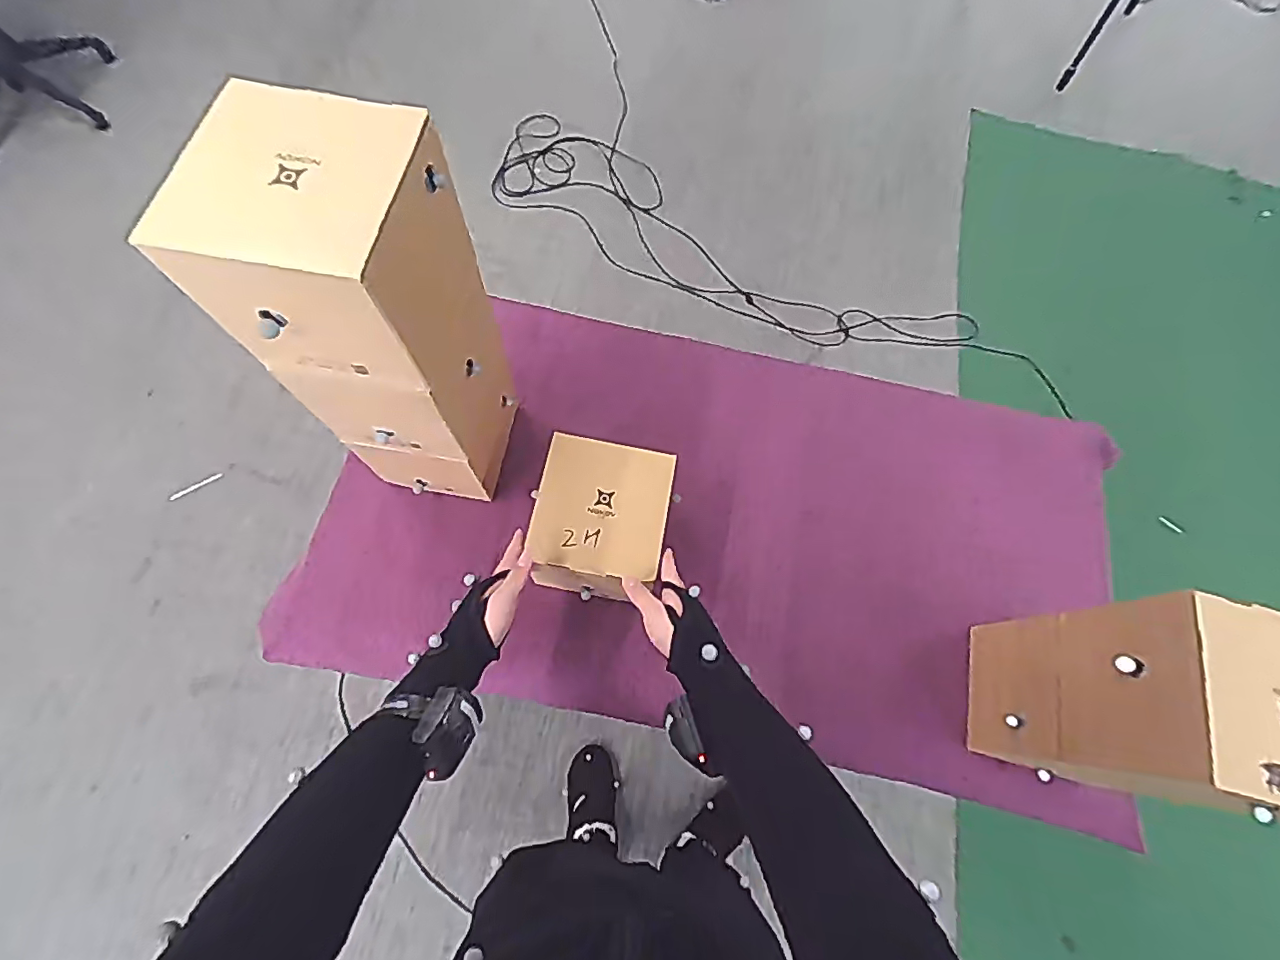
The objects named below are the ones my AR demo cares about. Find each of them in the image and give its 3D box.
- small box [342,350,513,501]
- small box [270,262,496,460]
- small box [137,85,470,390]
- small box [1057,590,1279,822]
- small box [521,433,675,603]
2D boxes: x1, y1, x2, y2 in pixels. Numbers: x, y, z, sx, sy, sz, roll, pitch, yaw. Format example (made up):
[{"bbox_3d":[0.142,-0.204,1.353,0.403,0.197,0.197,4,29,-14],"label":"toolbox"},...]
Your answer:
[{"bbox_3d":[-0.291,-0.087,0.788,0.168,0.176,0.179,10,70,0],"label":"small box"},{"bbox_3d":[-0.278,-0.145,0.636,0.168,0.176,0.179,10,70,0],"label":"small box"},{"bbox_3d":[-0.267,-0.201,0.485,0.168,0.176,0.179,9,69,0],"label":"small box"},{"bbox_3d":[0.571,0.233,0.557,0.168,0.176,0.179,15,68,3],"label":"small box"},{"bbox_3d":[-0.055,0.060,0.752,0.168,0.176,0.179,11,69,0],"label":"small box"}]
